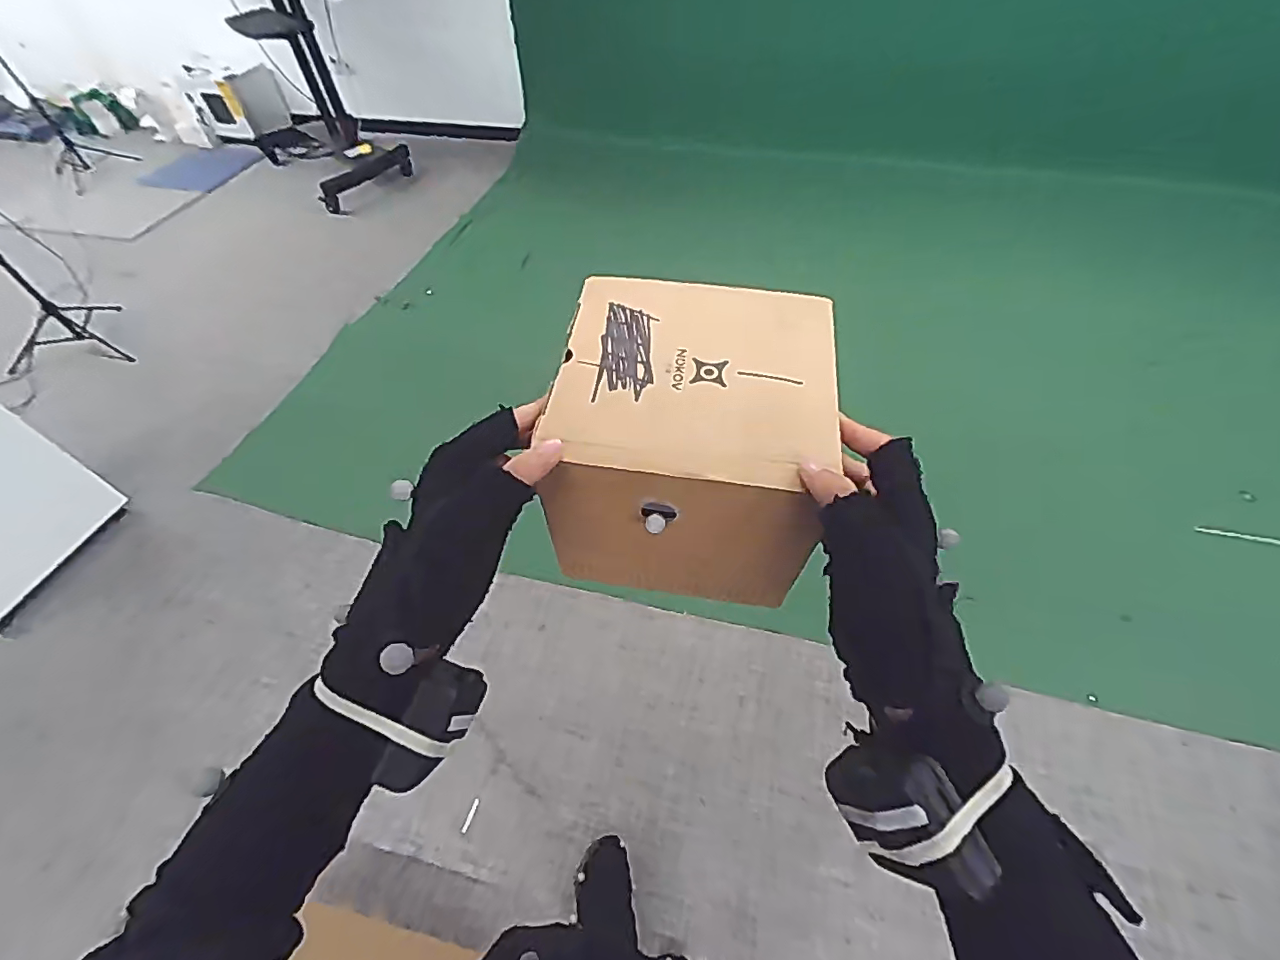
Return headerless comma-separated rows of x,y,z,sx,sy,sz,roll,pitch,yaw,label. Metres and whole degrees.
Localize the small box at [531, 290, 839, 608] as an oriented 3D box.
0.035,-0.017,0.409,0.179,0.176,0.168,8,56,5,small box
